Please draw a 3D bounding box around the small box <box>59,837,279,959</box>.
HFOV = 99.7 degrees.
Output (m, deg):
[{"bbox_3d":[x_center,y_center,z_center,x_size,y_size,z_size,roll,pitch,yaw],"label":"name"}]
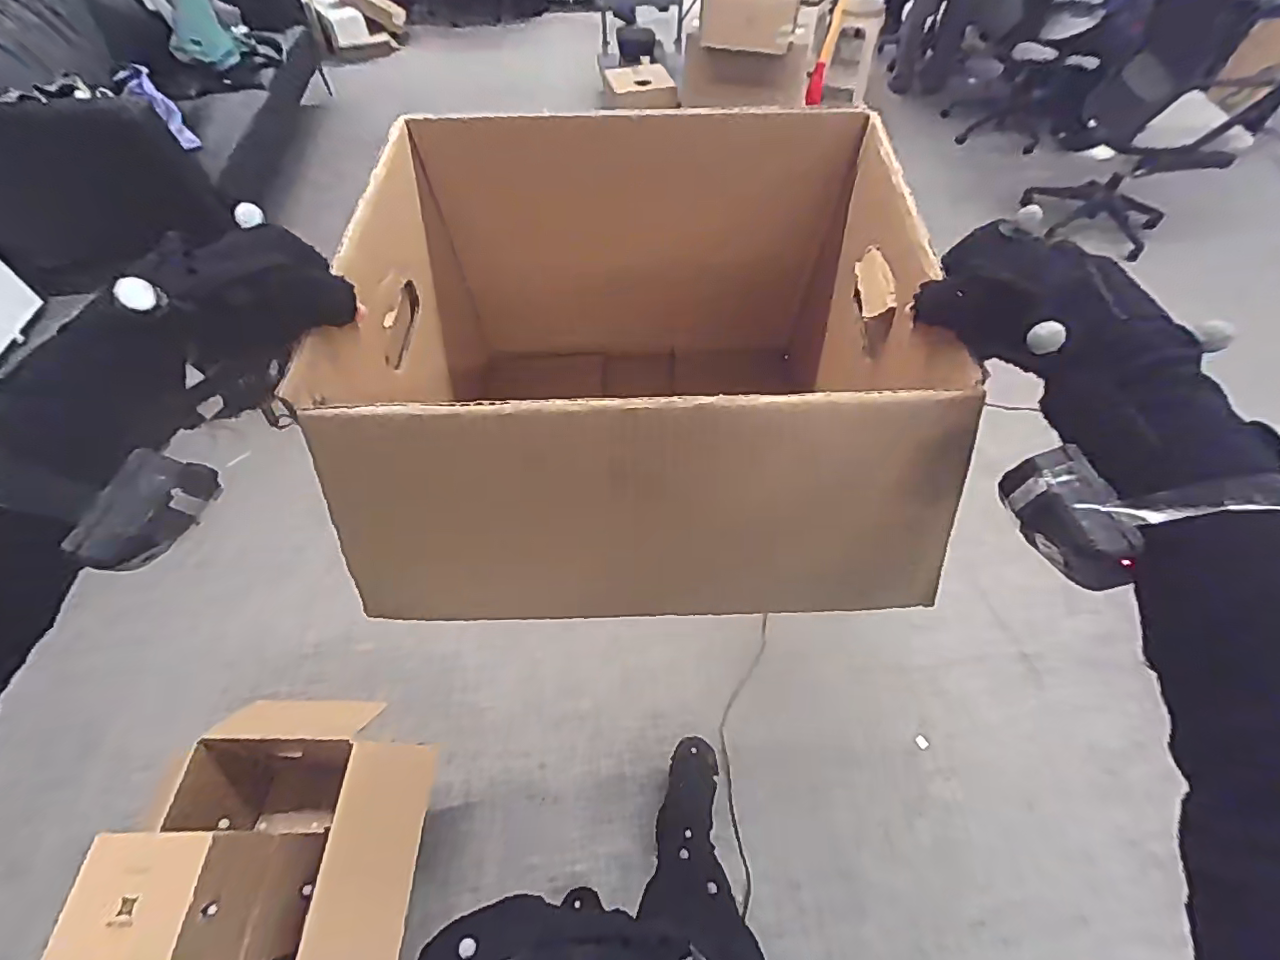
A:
[{"bbox_3d":[-0.669,0.628,0.787,0.168,0.176,0.179,-1,56,-2],"label":"small box"}]
